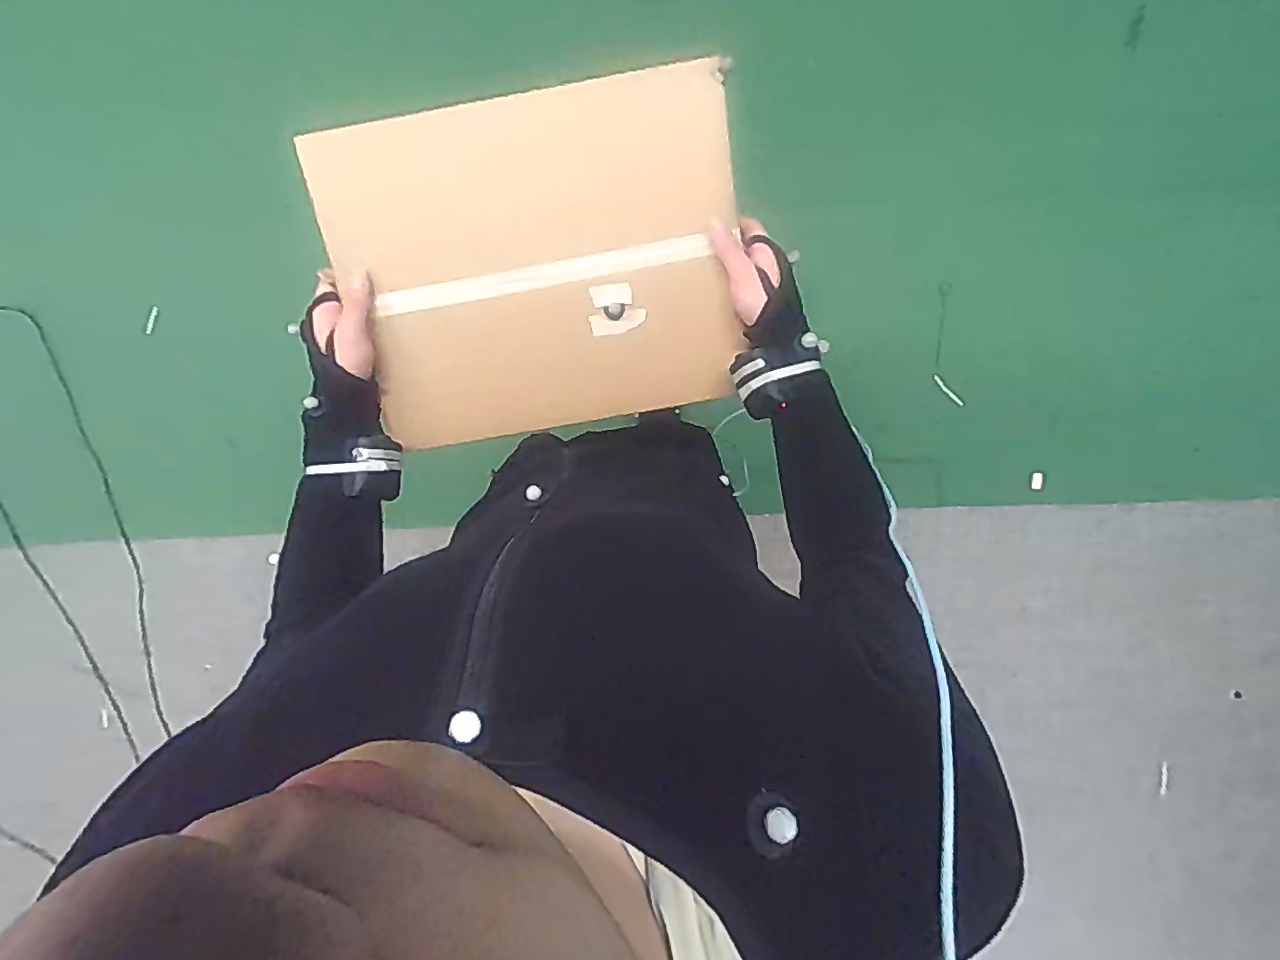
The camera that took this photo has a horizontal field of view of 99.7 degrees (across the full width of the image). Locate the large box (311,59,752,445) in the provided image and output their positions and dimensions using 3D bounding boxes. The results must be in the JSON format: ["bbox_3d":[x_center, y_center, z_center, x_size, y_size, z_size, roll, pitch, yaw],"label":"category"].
[{"bbox_3d":[-0.104,-0.261,0.700,0.408,0.320,0.320,-10,108,1],"label":"large box"}]
